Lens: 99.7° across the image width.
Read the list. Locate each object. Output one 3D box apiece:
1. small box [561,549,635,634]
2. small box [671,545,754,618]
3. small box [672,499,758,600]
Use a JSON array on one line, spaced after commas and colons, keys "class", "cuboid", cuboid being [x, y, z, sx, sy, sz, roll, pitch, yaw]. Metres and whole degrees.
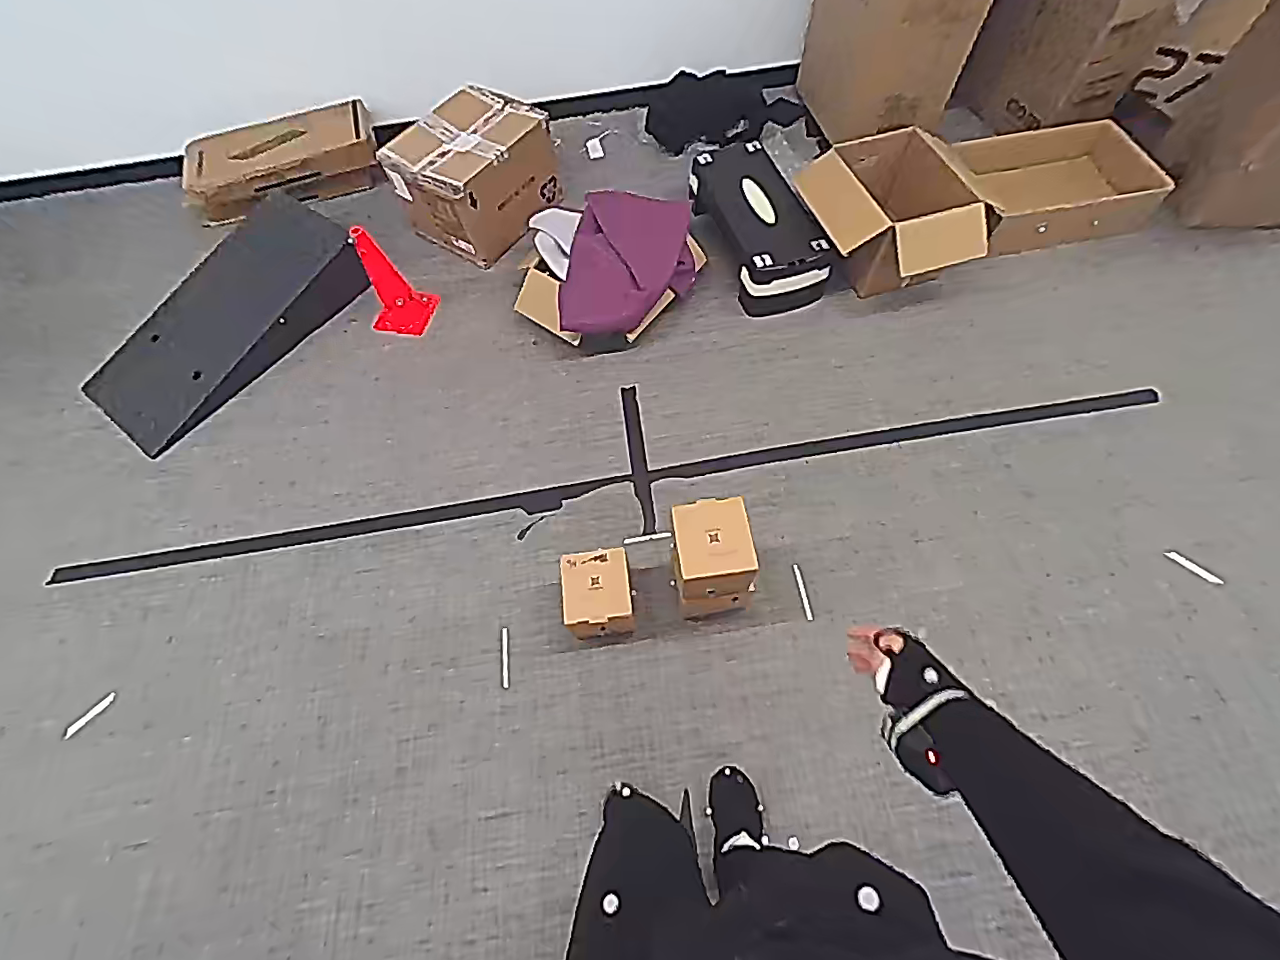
[{"class": "small box", "cuboid": [-0.105, 0.294, 1.389, 0.168, 0.176, 0.179, -7, 64, 0]}, {"class": "small box", "cuboid": [0.179, 0.248, 1.396, 0.179, 0.176, 0.168, -10, 63, -2]}, {"class": "small box", "cuboid": [0.165, 0.165, 1.257, 0.168, 0.176, 0.179, -8, 64, 0]}]
